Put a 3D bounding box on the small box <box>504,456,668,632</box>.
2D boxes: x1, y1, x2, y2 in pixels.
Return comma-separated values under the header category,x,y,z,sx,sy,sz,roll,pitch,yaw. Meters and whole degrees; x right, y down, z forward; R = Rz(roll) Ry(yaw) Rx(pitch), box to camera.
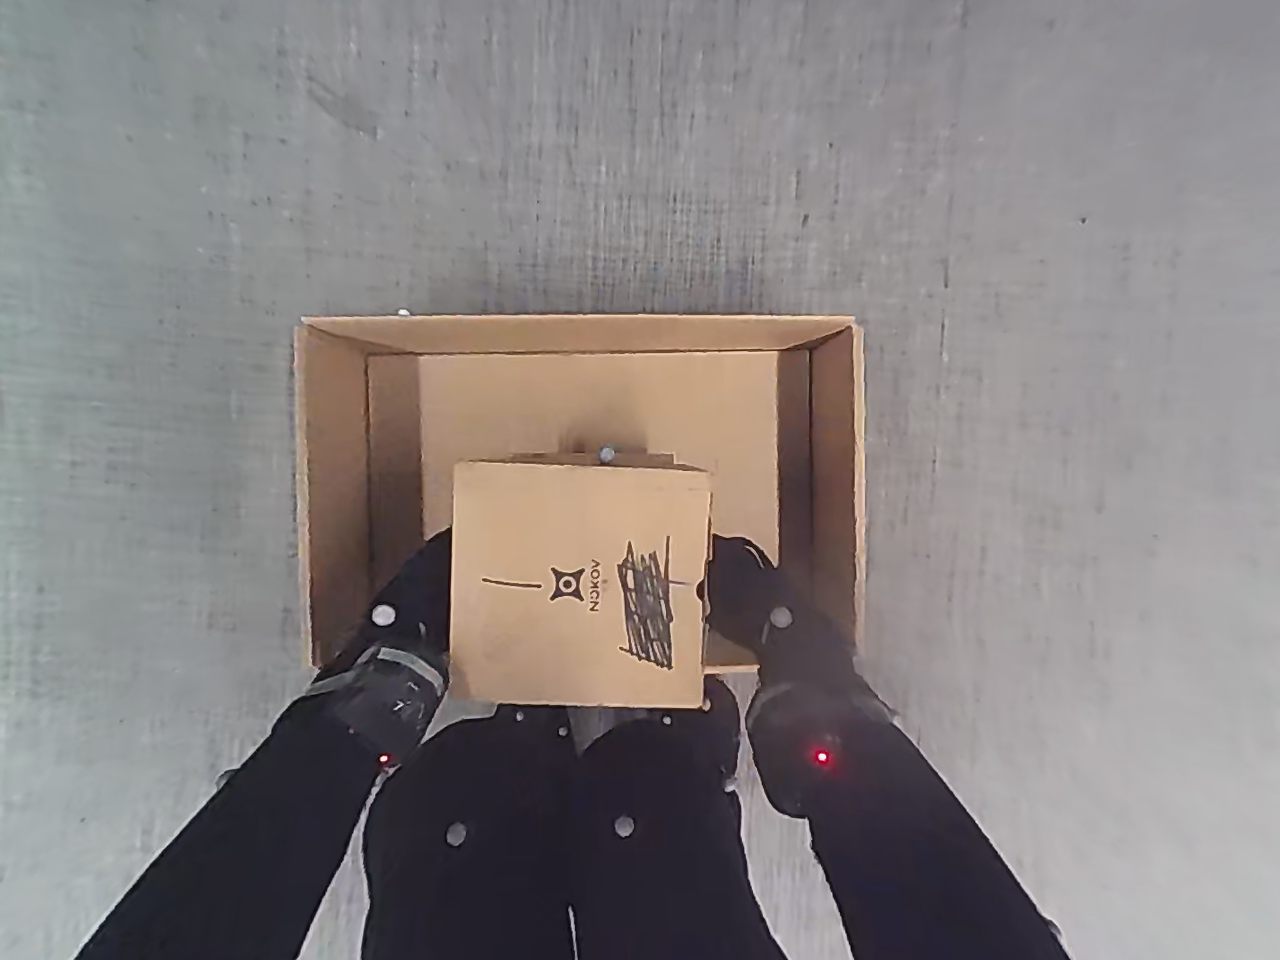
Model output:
category,x,y,z,sx,sy,sz,roll,pitch,yaw
small box,-0.055,0.062,0.621,0.168,0.176,0.179,0,92,-1
